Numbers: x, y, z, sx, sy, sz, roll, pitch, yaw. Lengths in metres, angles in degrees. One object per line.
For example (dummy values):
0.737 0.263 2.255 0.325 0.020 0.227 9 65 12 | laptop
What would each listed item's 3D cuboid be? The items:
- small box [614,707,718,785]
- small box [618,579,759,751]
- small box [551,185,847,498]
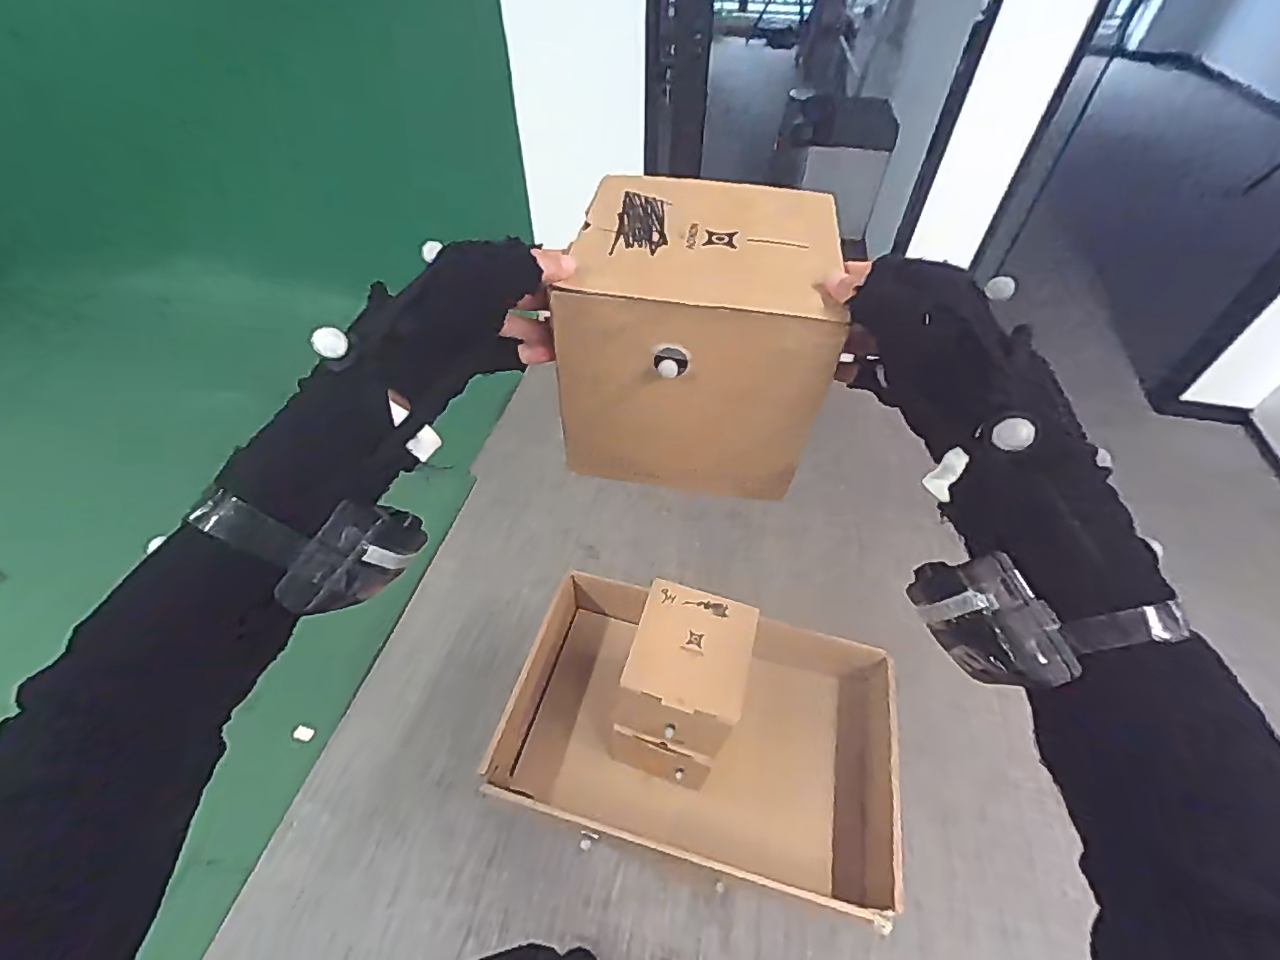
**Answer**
0.059 0.400 0.940 0.168 0.176 0.179 16 48 9 | small box
0.071 0.285 0.823 0.168 0.176 0.179 16 51 9 | small box
0.043 -0.104 0.422 0.179 0.176 0.168 8 51 4 | small box
